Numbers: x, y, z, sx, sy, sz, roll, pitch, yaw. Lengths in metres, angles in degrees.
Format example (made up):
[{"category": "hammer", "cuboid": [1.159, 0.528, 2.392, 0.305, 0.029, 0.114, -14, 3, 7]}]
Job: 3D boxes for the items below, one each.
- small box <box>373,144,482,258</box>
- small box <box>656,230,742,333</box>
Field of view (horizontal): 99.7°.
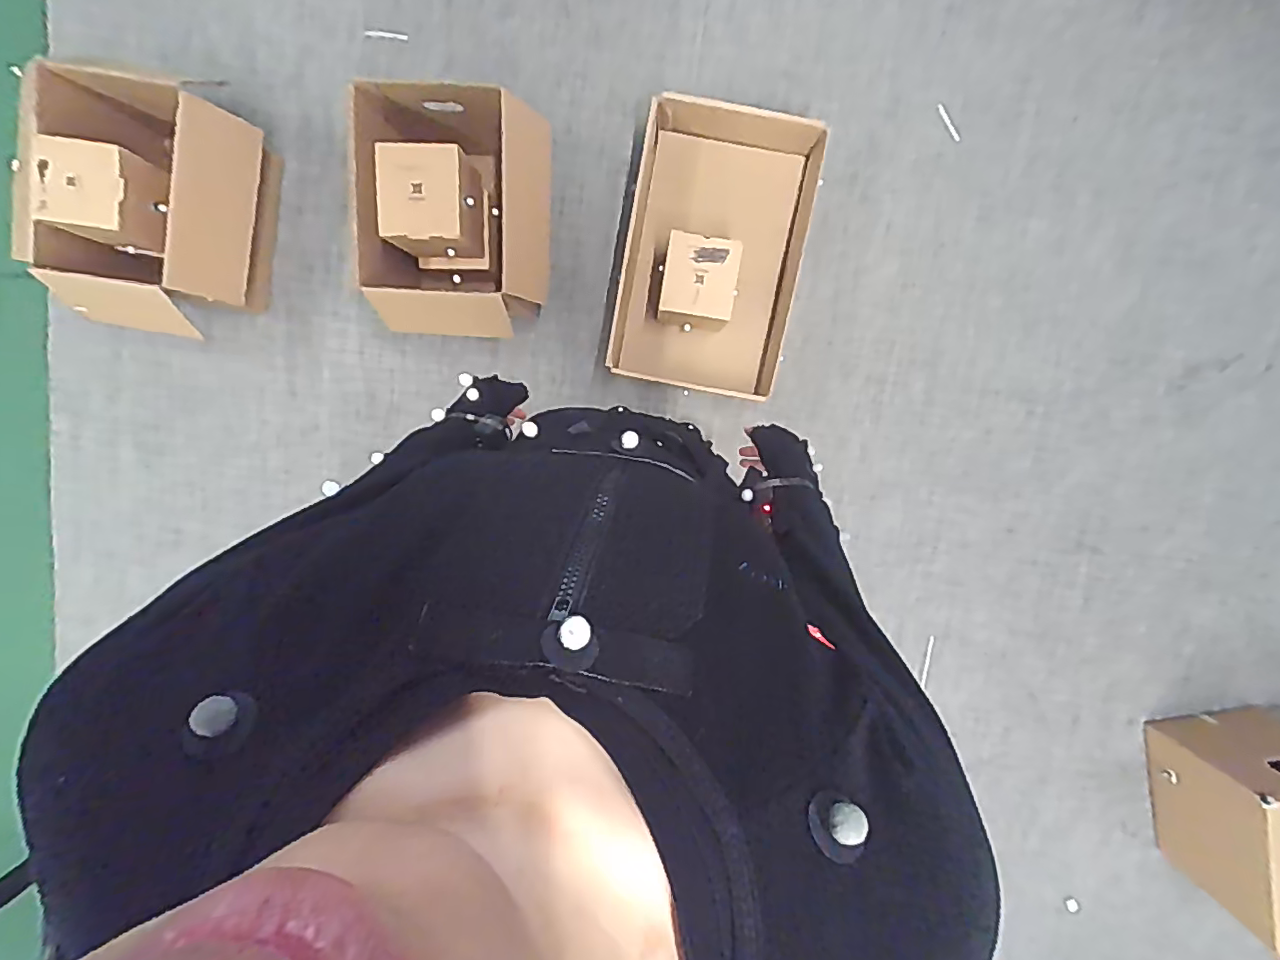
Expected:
[{"category": "small box", "cuboid": [-0.438, -0.577, 1.140, 0.168, 0.176, 0.179, 2, 99, 1]}, {"category": "small box", "cuboid": [0.131, -0.459, 1.274, 0.168, 0.176, 0.179, 9, 97, 0]}]
